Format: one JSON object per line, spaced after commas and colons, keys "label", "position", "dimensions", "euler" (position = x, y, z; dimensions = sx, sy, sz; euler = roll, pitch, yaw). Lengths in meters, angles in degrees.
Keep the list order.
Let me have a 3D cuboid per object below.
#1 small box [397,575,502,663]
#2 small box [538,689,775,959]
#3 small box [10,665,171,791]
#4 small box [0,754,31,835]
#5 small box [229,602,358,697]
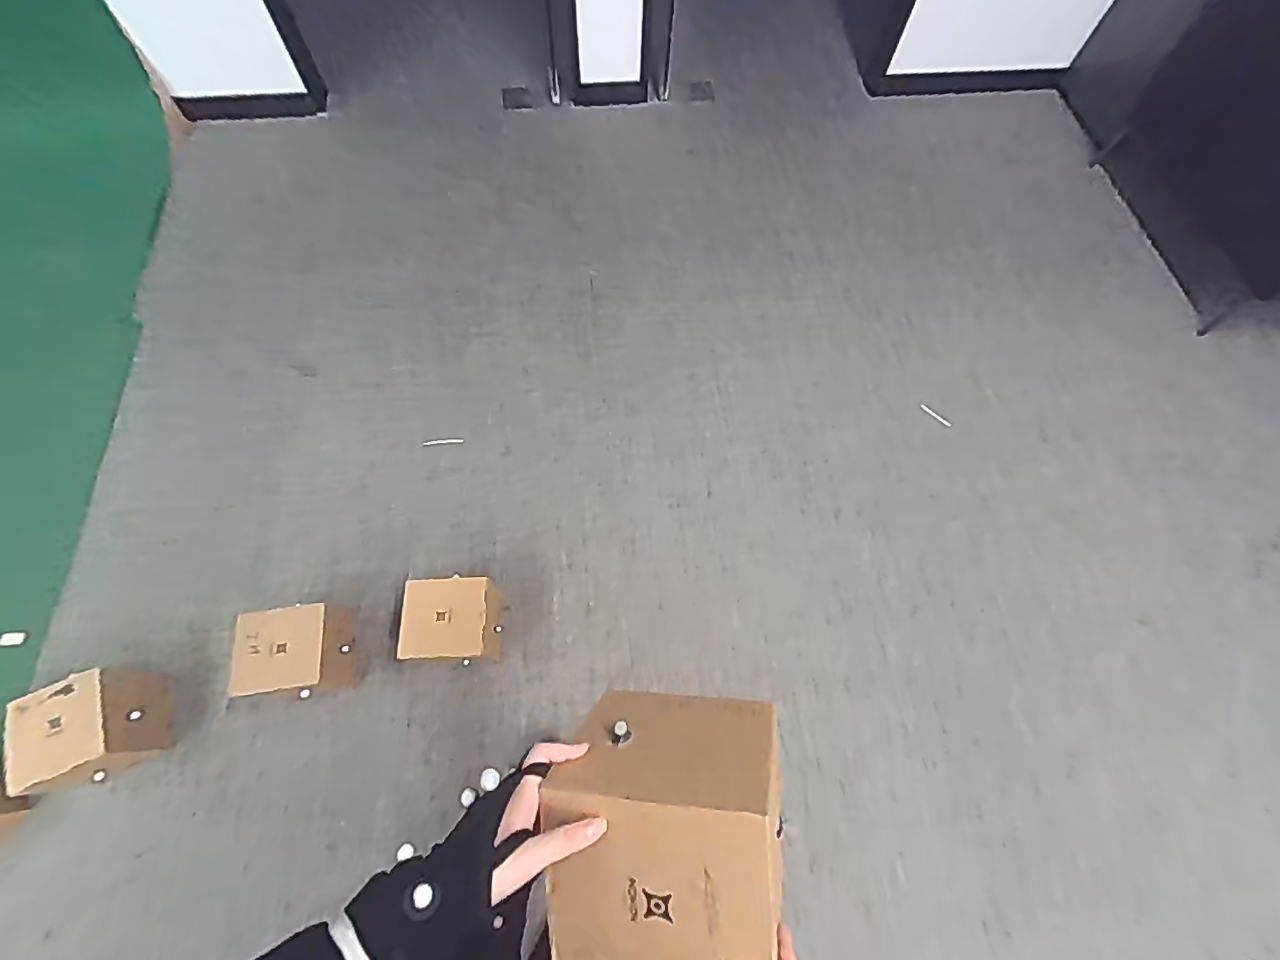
{"label": "small box", "position": [-0.418, 0.317, 1.215], "dimensions": [0.179, 0.176, 0.168], "euler": [-1, 66, -4]}
{"label": "small box", "position": [0.027, 0.304, 0.483], "dimensions": [0.179, 0.176, 0.168], "euler": [-1, 94, 15]}
{"label": "small box", "position": [-1.108, 0.498, 1.104], "dimensions": [0.168, 0.176, 0.179], "euler": [-22, 69, -11]}
{"label": "small box", "position": [-1.357, 0.647, 1.027], "dimensions": [0.168, 0.176, 0.179], "euler": [37, 69, 13]}
{"label": "small box", "position": [-0.738, 0.370, 1.174], "dimensions": [0.179, 0.176, 0.168], "euler": [-7, 66, -6]}
